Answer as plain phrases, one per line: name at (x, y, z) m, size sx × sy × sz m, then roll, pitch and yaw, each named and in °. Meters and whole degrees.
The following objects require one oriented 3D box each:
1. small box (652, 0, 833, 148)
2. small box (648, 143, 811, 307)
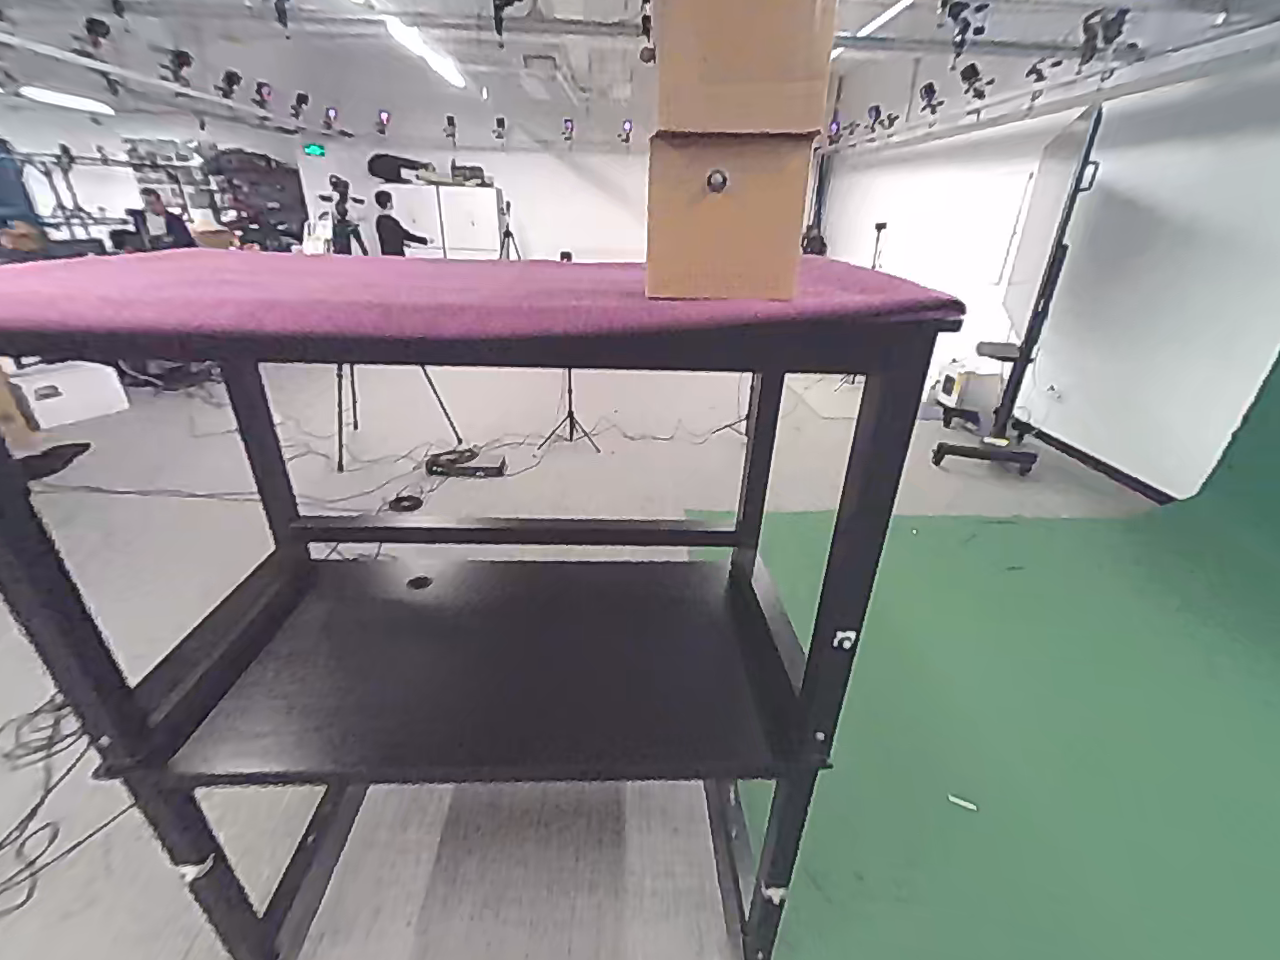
small box at (0.102, -0.453, 0.597) m, size 0.179 × 0.176 × 0.168 m, roll 1°, pitch 24°, yaw -1°
small box at (0.101, -0.312, 0.678) m, size 0.179 × 0.176 × 0.168 m, roll 3°, pitch 24°, yaw 3°
